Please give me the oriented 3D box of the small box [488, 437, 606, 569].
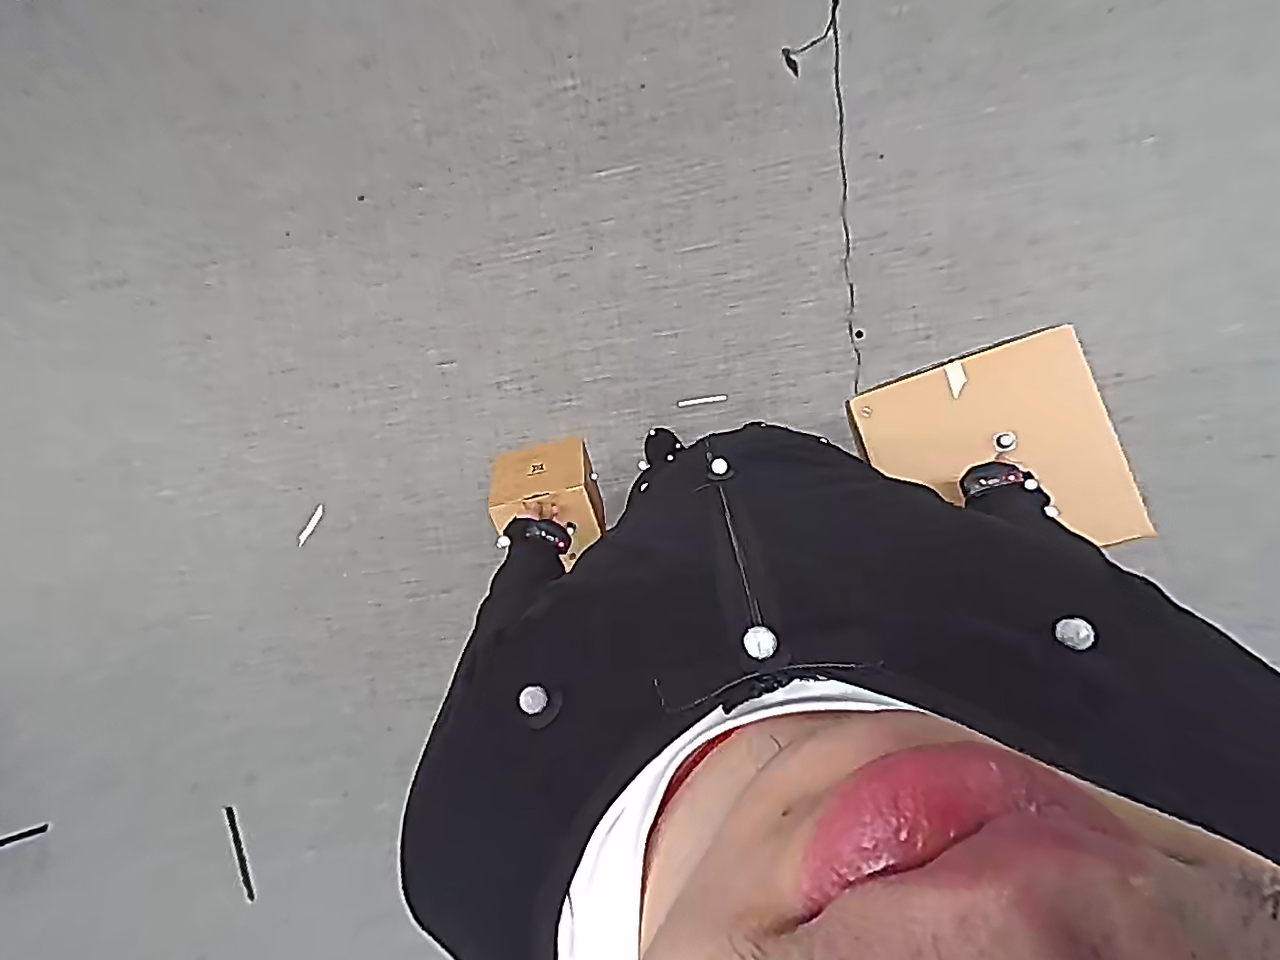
[{"bbox_3d":[-0.162,0.047,0.999,0.168,0.179,0.176,-13,121,2],"label":"small box"}]
